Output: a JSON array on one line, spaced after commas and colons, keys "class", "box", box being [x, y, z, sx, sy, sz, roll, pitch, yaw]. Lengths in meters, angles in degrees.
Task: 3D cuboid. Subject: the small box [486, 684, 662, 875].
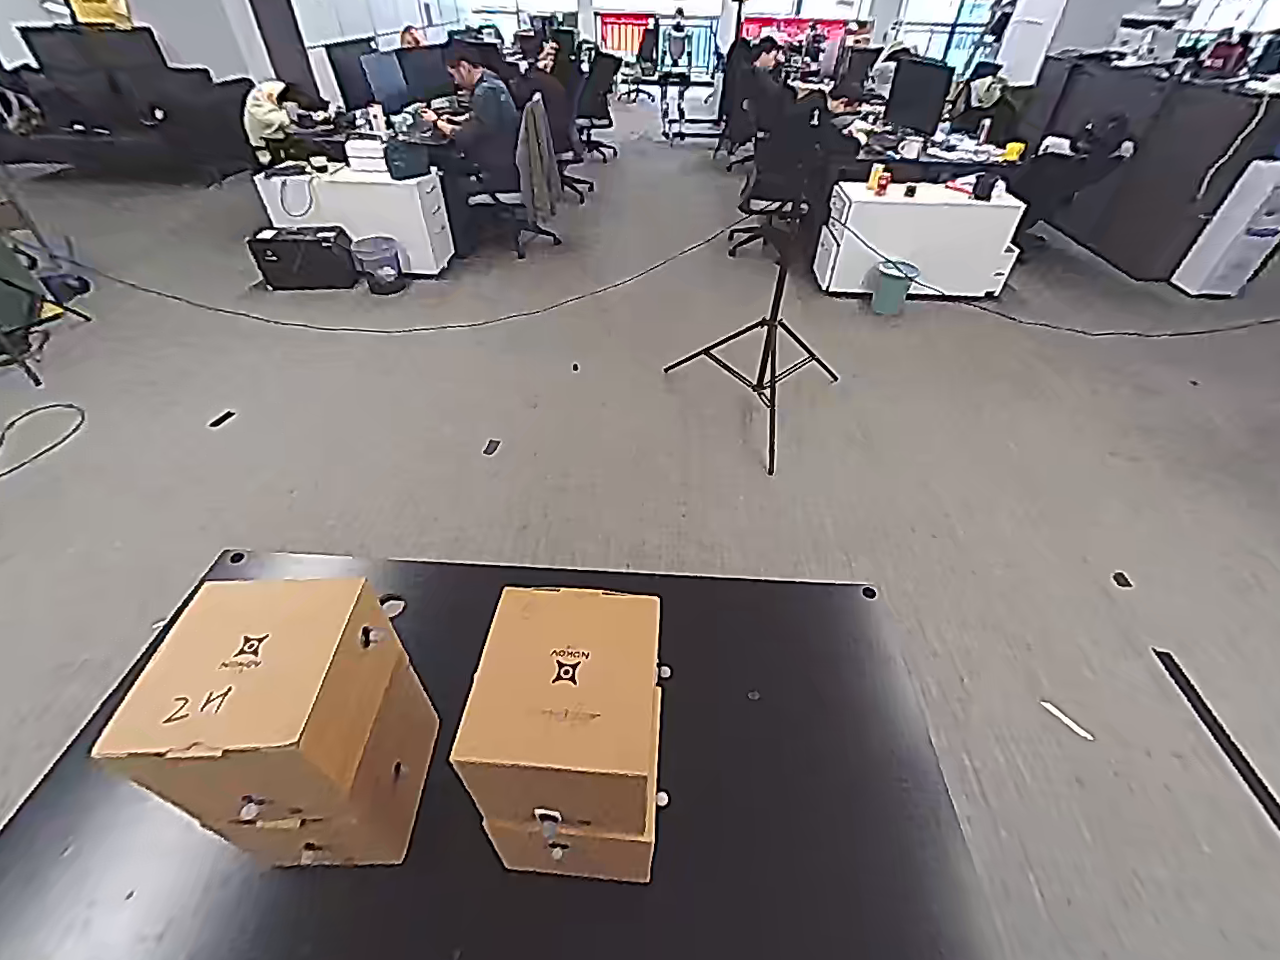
[{"class": "small box", "box": [-0.067, 0.360, 0.662, 0.179, 0.176, 0.168, 4, 42, 3]}]

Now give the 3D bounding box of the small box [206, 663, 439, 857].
[{"class": "small box", "box": [-0.366, 0.349, 0.670, 0.168, 0.176, 0.179, -1, 42, -1]}]

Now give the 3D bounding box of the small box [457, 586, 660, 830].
[{"class": "small box", "box": [-0.067, 0.233, 0.560, 0.168, 0.176, 0.179, 2, 43, 3]}]

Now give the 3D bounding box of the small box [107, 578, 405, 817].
[{"class": "small box", "box": [-0.364, 0.223, 0.563, 0.168, 0.176, 0.179, -2, 42, -2]}]
